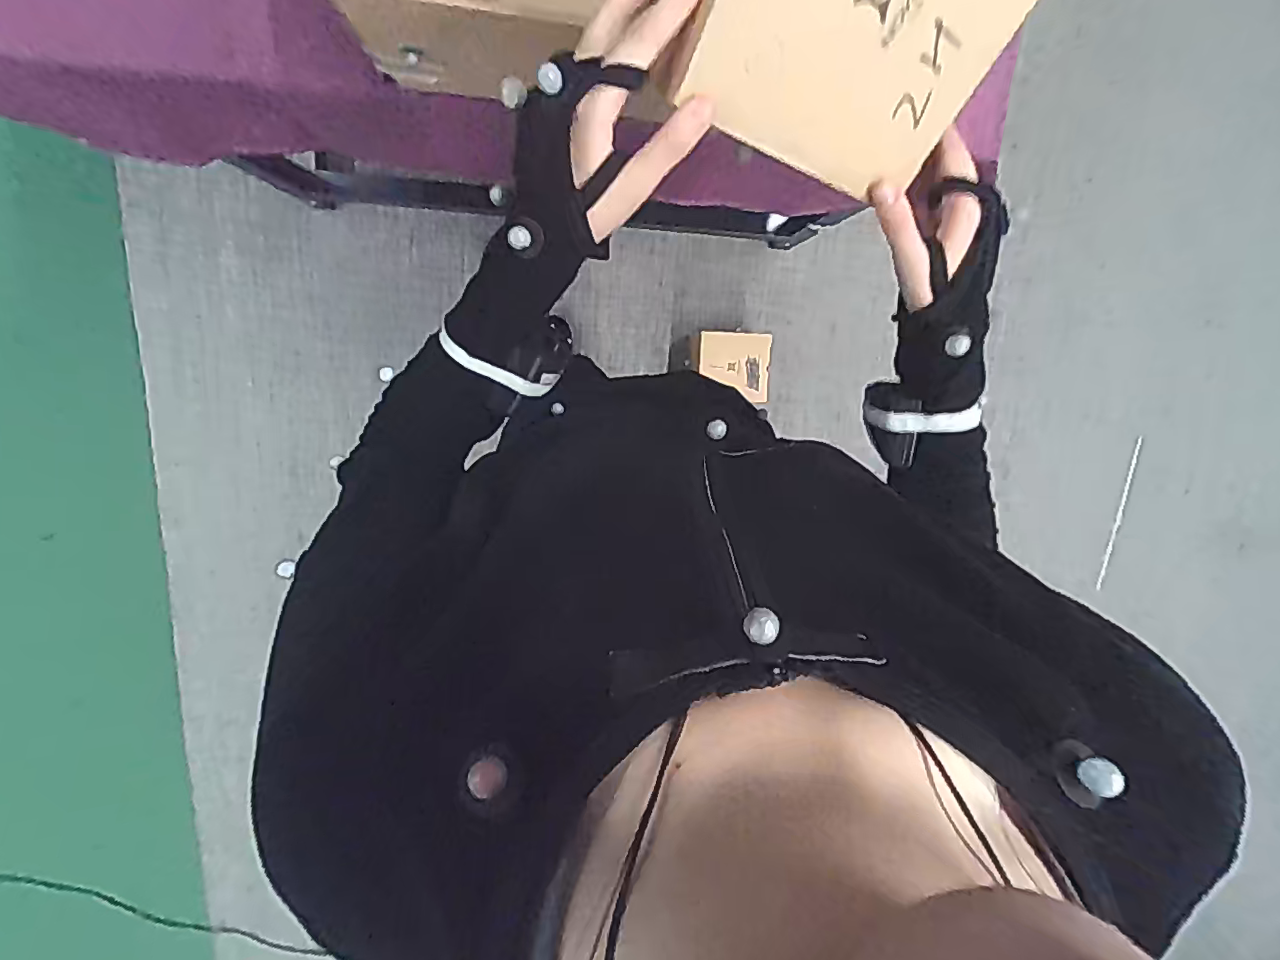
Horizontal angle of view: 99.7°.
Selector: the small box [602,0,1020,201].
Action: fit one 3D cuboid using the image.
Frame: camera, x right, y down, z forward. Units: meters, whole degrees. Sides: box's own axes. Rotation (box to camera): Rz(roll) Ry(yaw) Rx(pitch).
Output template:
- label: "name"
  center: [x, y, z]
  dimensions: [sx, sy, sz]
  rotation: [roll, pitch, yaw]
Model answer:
- label: "small box"
  center: [0.095, -0.303, 0.317]
  dimensions: [0.179, 0.176, 0.168]
  rotation: [4, 136, -28]
